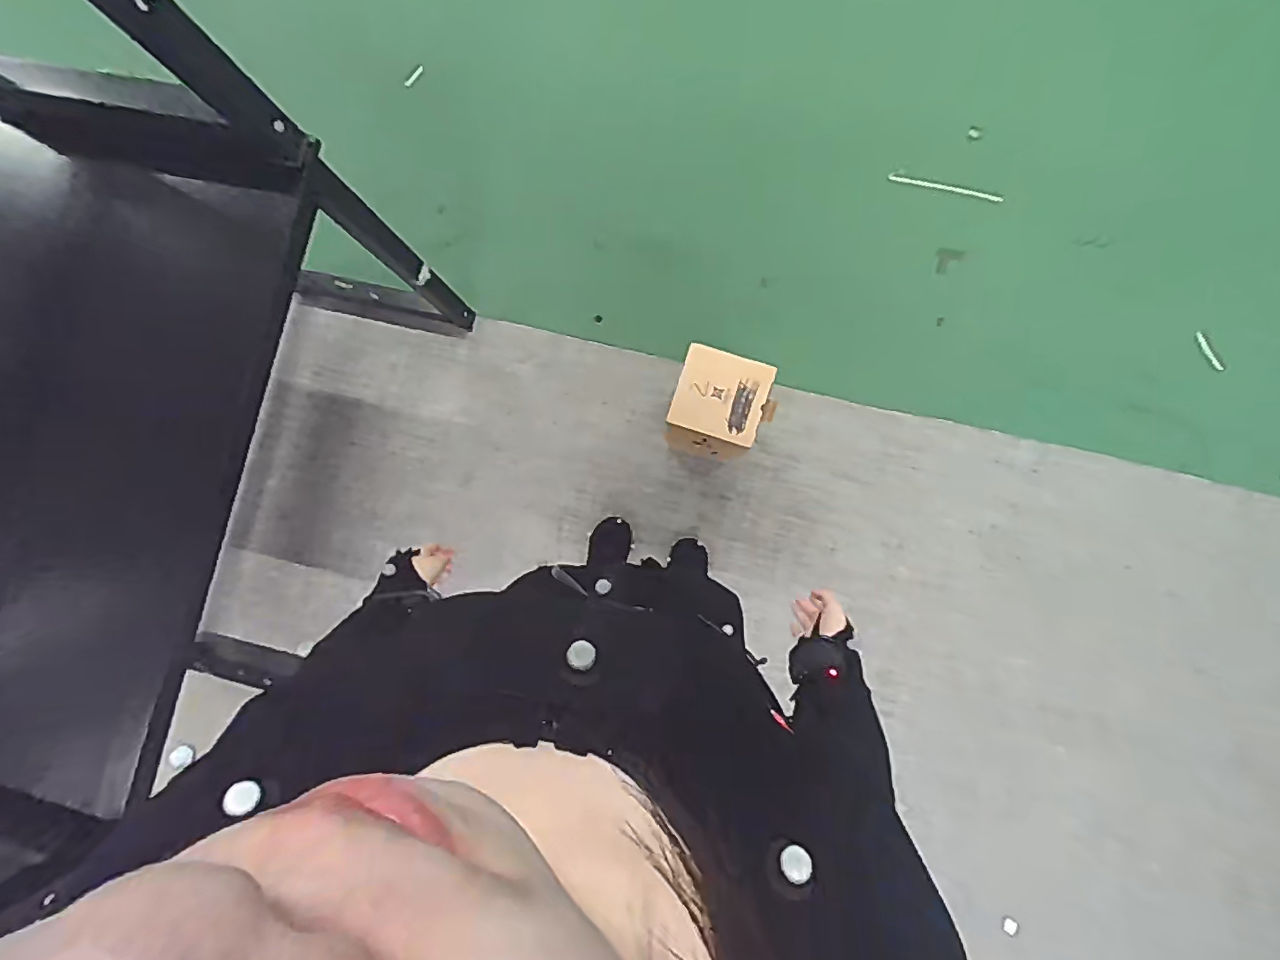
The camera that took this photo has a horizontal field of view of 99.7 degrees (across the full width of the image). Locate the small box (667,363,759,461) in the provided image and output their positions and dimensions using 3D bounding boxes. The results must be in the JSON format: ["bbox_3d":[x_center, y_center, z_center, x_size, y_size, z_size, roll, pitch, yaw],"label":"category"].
[{"bbox_3d":[0.166,-0.151,1.268,0.168,0.176,0.179,16,87,4],"label":"small box"}]
